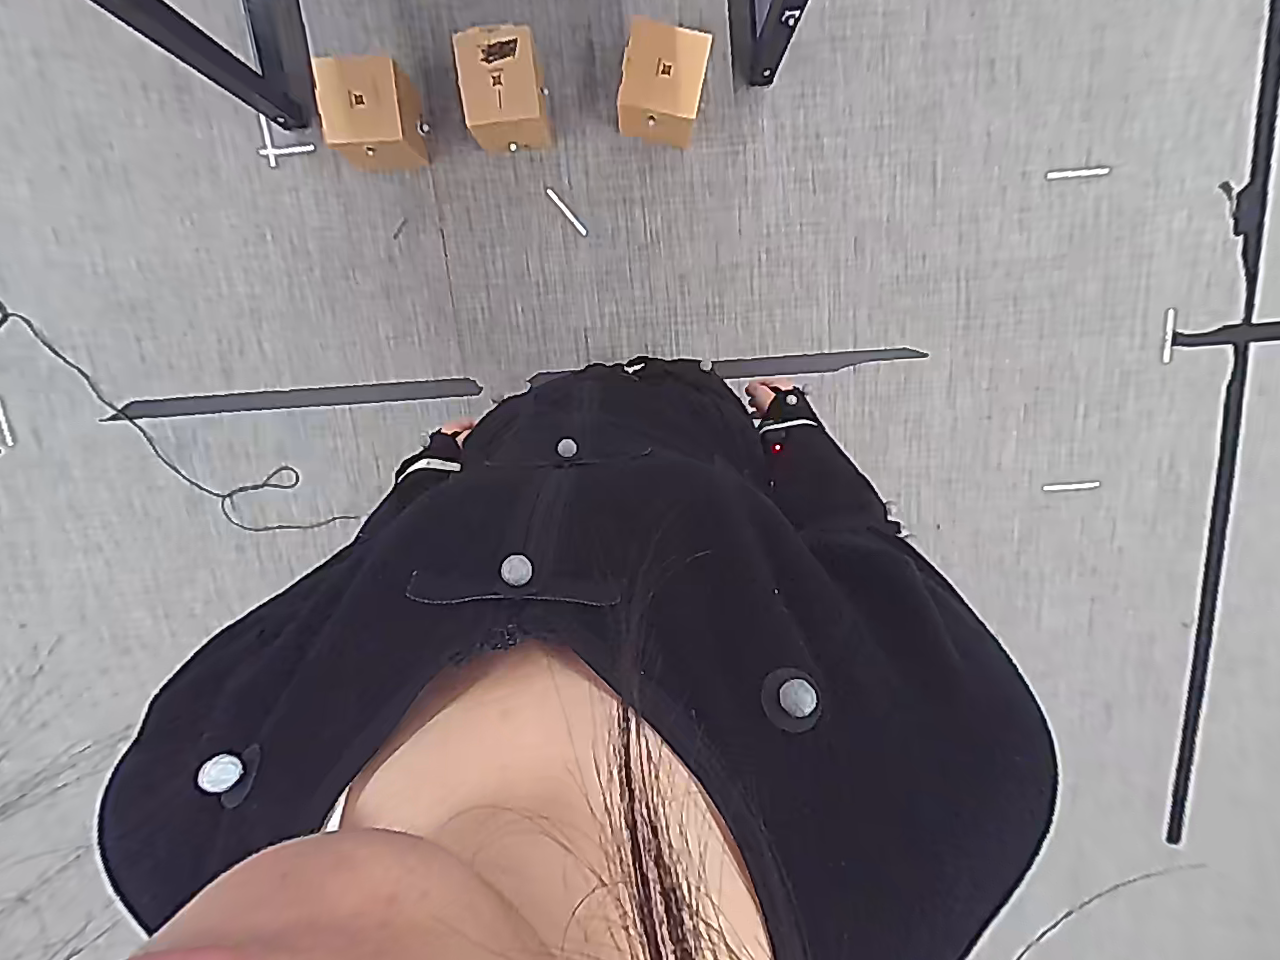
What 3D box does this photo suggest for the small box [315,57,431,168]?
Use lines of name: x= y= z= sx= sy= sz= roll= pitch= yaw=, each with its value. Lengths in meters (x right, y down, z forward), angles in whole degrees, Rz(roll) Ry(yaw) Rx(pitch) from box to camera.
small box: x=-0.604 y=-0.834 z=1.242 sx=0.179 sy=0.176 sz=0.168 roll=-2 pitch=103 yaw=0

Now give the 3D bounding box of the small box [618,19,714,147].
small box: x=0.056 y=-0.887 z=1.229 sx=0.179 sy=0.176 sz=0.168 roll=12 pitch=102 yaw=-1

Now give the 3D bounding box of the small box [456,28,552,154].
small box: x=-0.301 y=-0.874 z=1.231 sx=0.168 sy=0.176 sz=0.179 roll=-5 pitch=103 yaw=2
